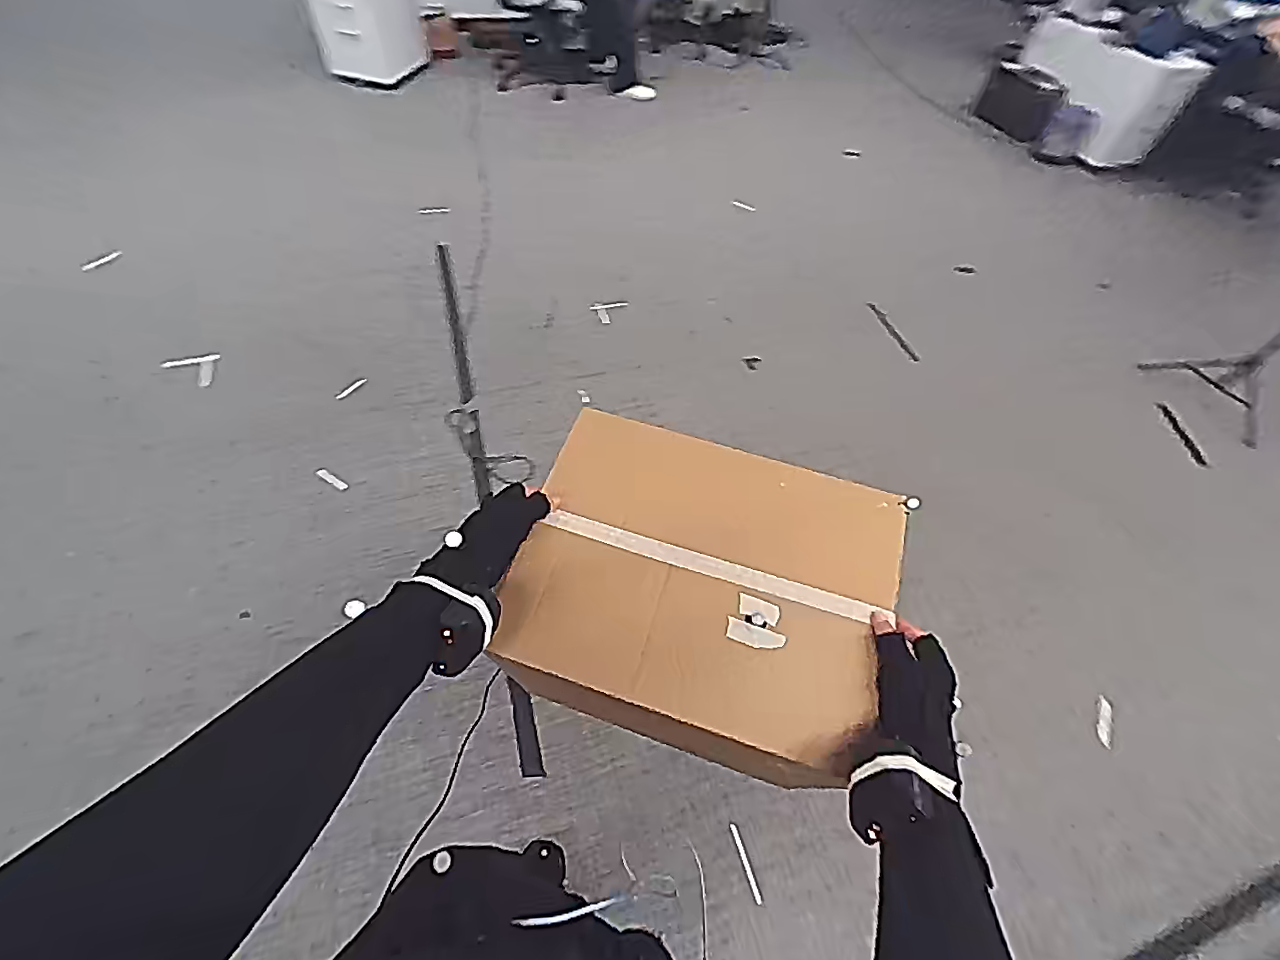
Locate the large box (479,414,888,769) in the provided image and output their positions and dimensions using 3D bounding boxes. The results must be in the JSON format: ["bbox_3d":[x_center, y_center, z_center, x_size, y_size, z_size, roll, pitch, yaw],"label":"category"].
[{"bbox_3d":[0.060,0.162,0.731,0.408,0.320,0.320,16,63,7],"label":"large box"}]
